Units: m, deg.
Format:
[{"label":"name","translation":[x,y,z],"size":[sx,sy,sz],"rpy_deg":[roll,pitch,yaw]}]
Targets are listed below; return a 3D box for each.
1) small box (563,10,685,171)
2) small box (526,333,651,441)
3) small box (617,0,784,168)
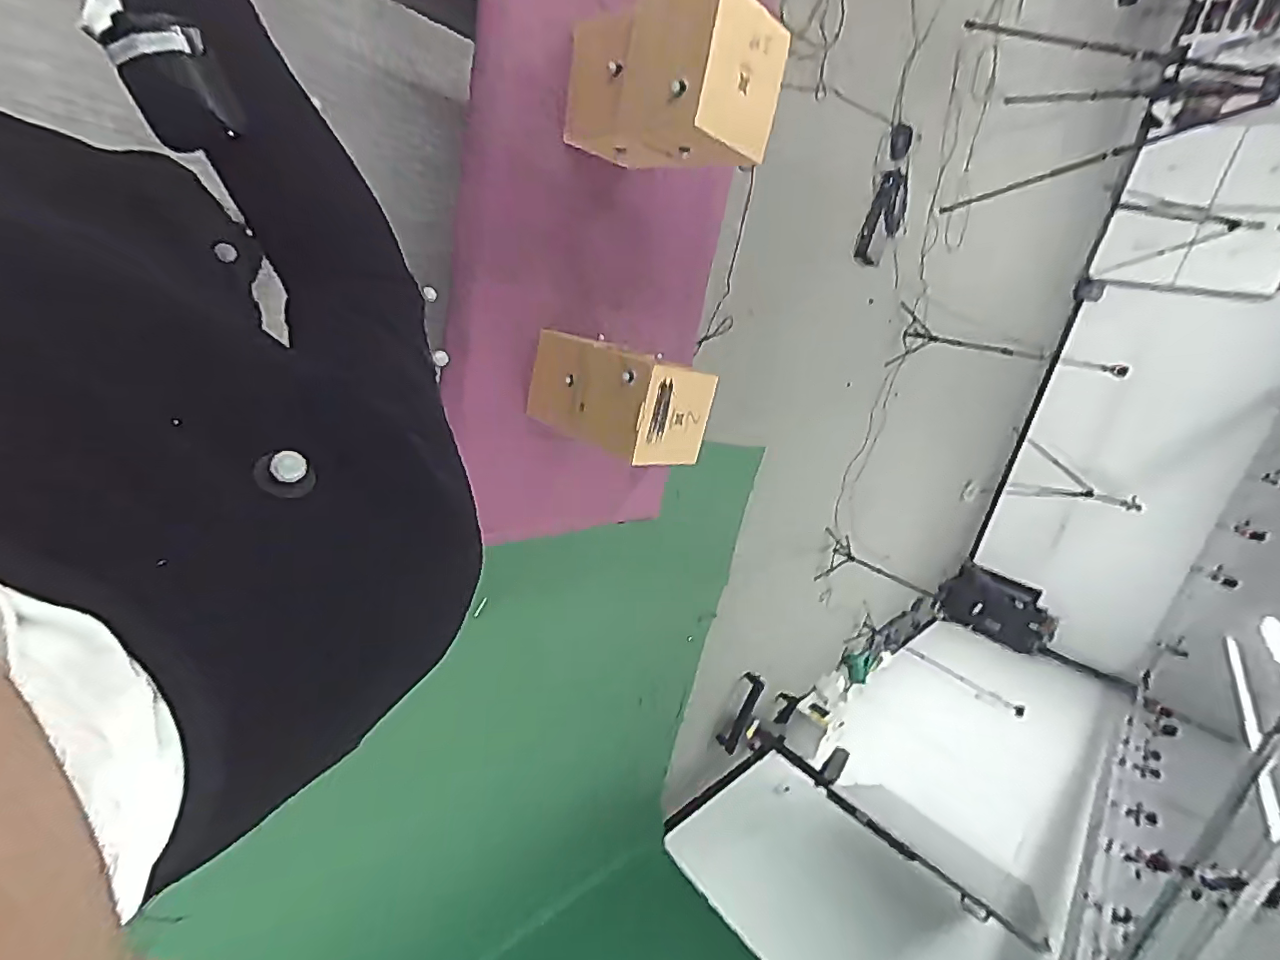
[{"label":"small box","translation":[-0.016,-0.653,0.935],"size":[0.168,0.176,0.179],"rpy_deg":[-8,115,-44]},{"label":"small box","translation":[-0.109,-0.188,1.086],"size":[0.168,0.176,0.179],"rpy_deg":[-3,113,-46]},{"label":"small box","translation":[0.085,-0.593,0.819],"size":[0.168,0.176,0.179],"rpy_deg":[-6,115,-45]}]
